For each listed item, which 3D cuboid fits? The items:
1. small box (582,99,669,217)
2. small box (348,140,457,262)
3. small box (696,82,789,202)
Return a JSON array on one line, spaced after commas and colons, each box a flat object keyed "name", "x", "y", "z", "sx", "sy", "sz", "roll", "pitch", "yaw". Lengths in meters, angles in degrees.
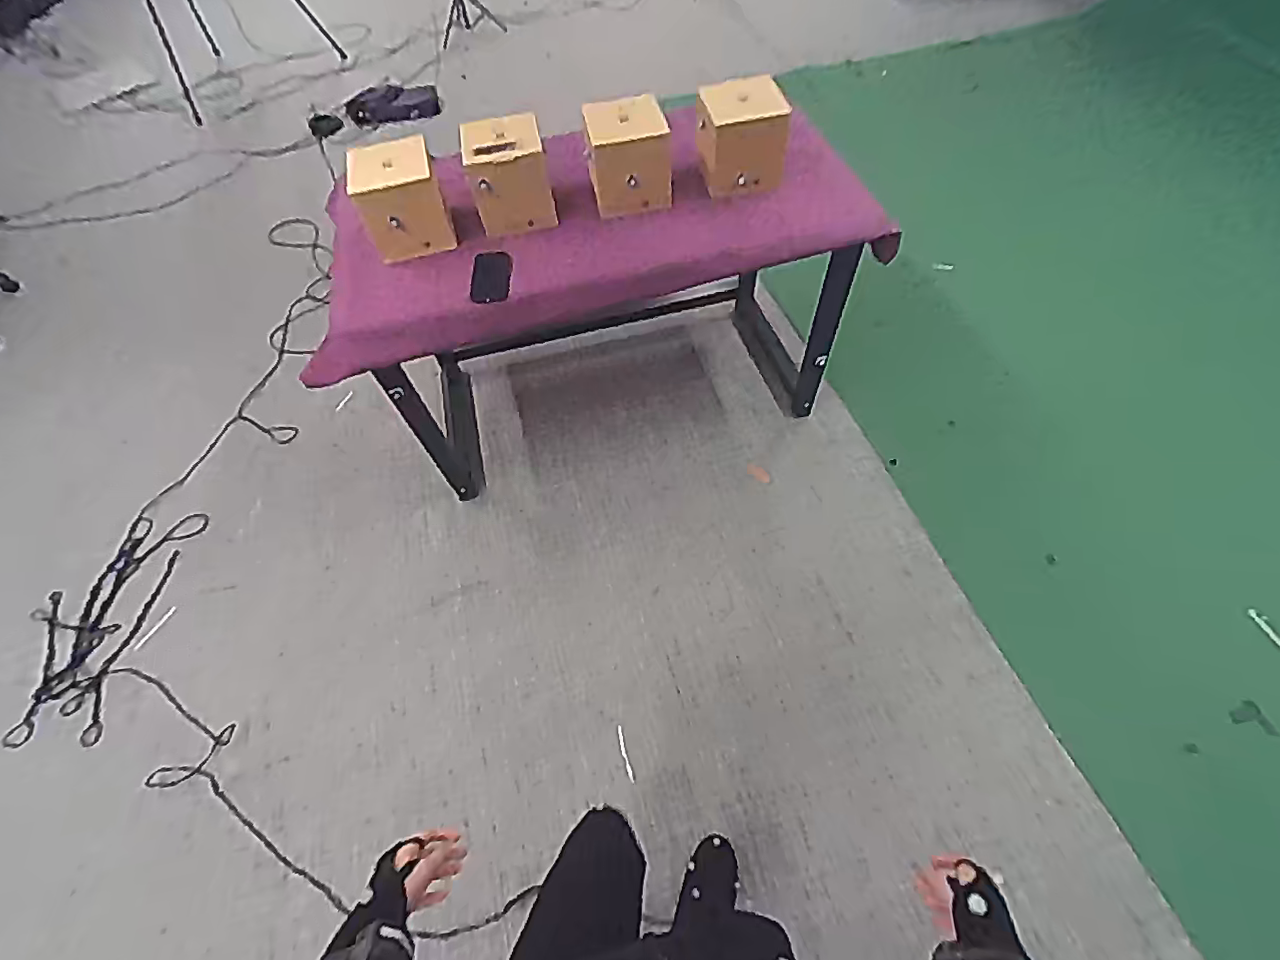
[{"name": "small box", "x": -0.029, "y": -0.718, "z": 1.223, "sx": 0.168, "sy": 0.176, "sz": 0.179, "roll": -11, "pitch": 58, "yaw": -3}, {"name": "small box", "x": -0.515, "y": -0.601, "z": 1.186, "sx": 0.168, "sy": 0.176, "sz": 0.179, "roll": -17, "pitch": 58, "yaw": -6}, {"name": "small box", "x": 0.225, "y": -0.771, "z": 1.239, "sx": 0.168, "sy": 0.176, "sz": 0.179, "roll": -11, "pitch": 58, "yaw": -1}]
